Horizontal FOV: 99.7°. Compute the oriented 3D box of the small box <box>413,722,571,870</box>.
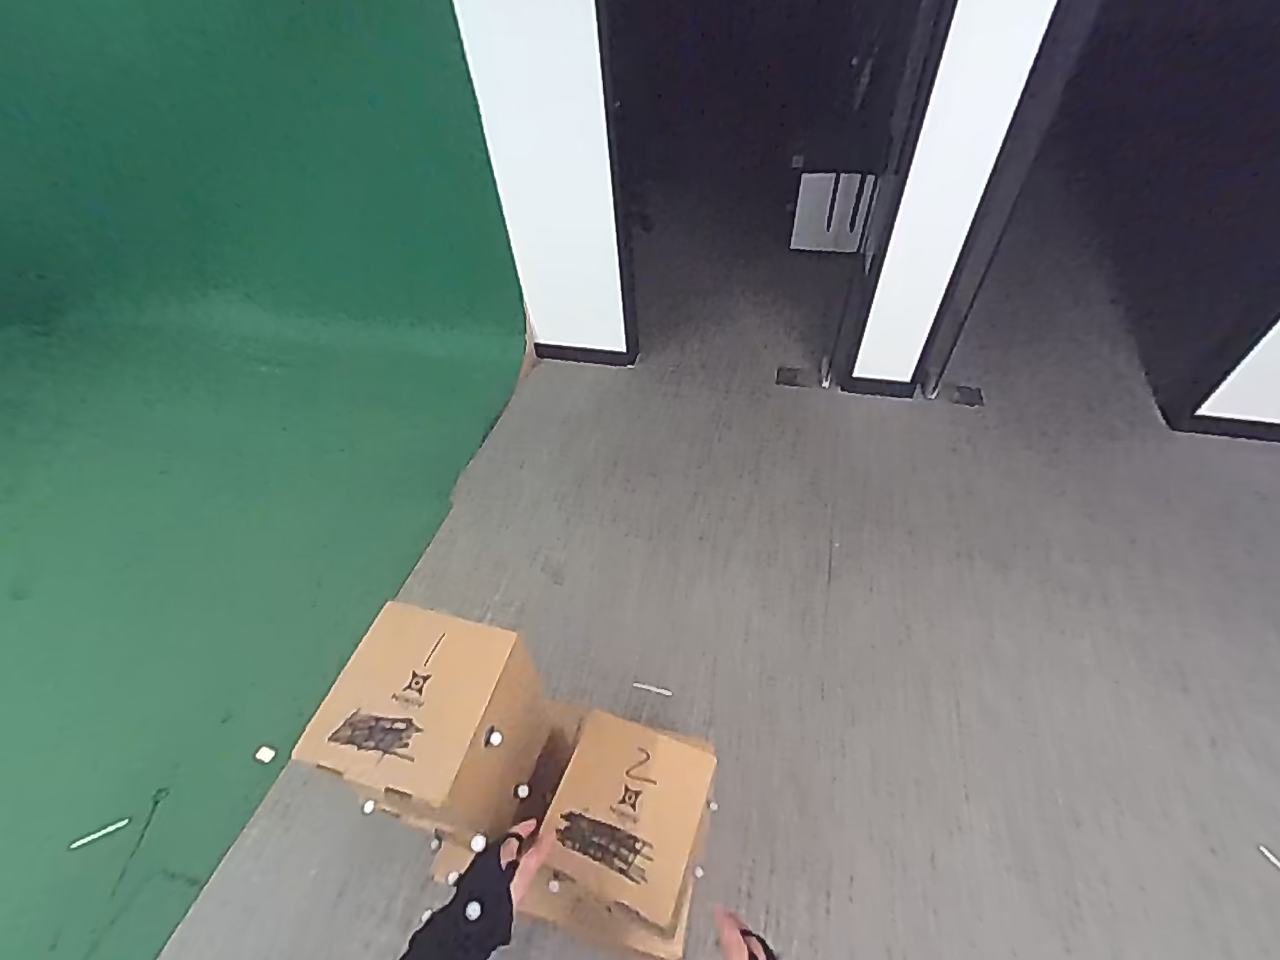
[{"bbox_3d":[-0.219,0.490,0.860,0.168,0.176,0.179,12,50,12],"label":"small box"}]

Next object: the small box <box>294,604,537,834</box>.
[{"bbox_3d":[-0.230,0.273,0.613,0.168,0.176,0.179,10,48,11],"label":"small box"}]

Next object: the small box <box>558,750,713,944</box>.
[{"bbox_3d":[0.001,0.539,0.796,0.168,0.176,0.179,14,50,18],"label":"small box"}]
